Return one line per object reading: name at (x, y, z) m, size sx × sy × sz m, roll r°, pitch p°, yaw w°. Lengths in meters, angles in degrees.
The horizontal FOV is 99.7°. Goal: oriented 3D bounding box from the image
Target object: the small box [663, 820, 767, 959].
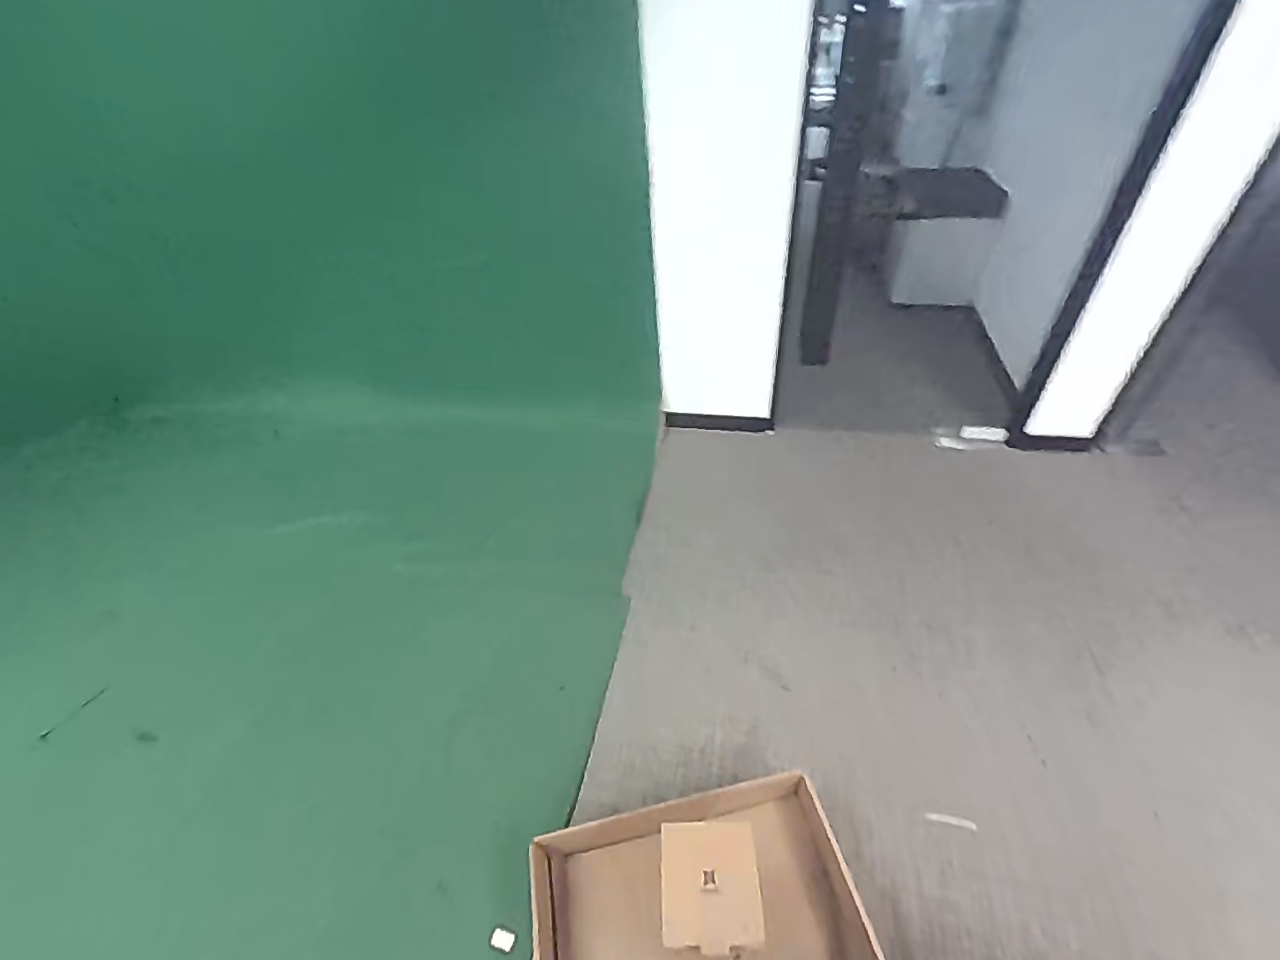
small box at (0.129, 0.732, 0.963) m, size 0.168 × 0.176 × 0.179 m, roll -3°, pitch 40°, yaw 3°
